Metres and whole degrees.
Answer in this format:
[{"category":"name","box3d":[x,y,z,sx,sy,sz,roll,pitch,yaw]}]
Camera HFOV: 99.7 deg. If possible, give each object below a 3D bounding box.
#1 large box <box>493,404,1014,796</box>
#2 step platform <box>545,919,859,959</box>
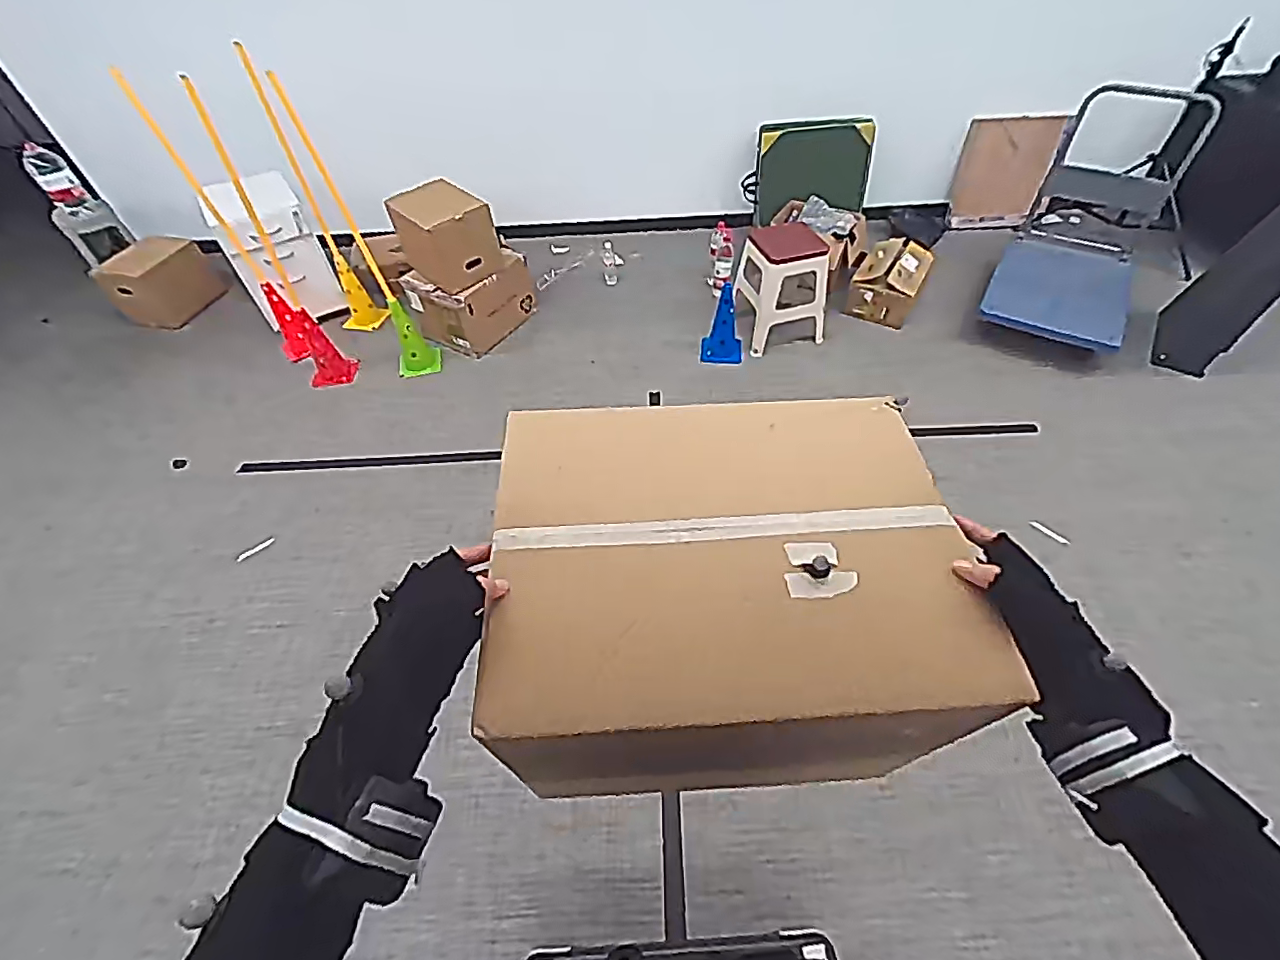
[{"category":"large box","box3d":[0.074,0.140,0.605,0.408,0.320,0.320,-3,53,-3]},{"category":"step platform","box3d":[0.129,1.113,1.112,0.684,0.204,0.286,-4,50,-2]}]
